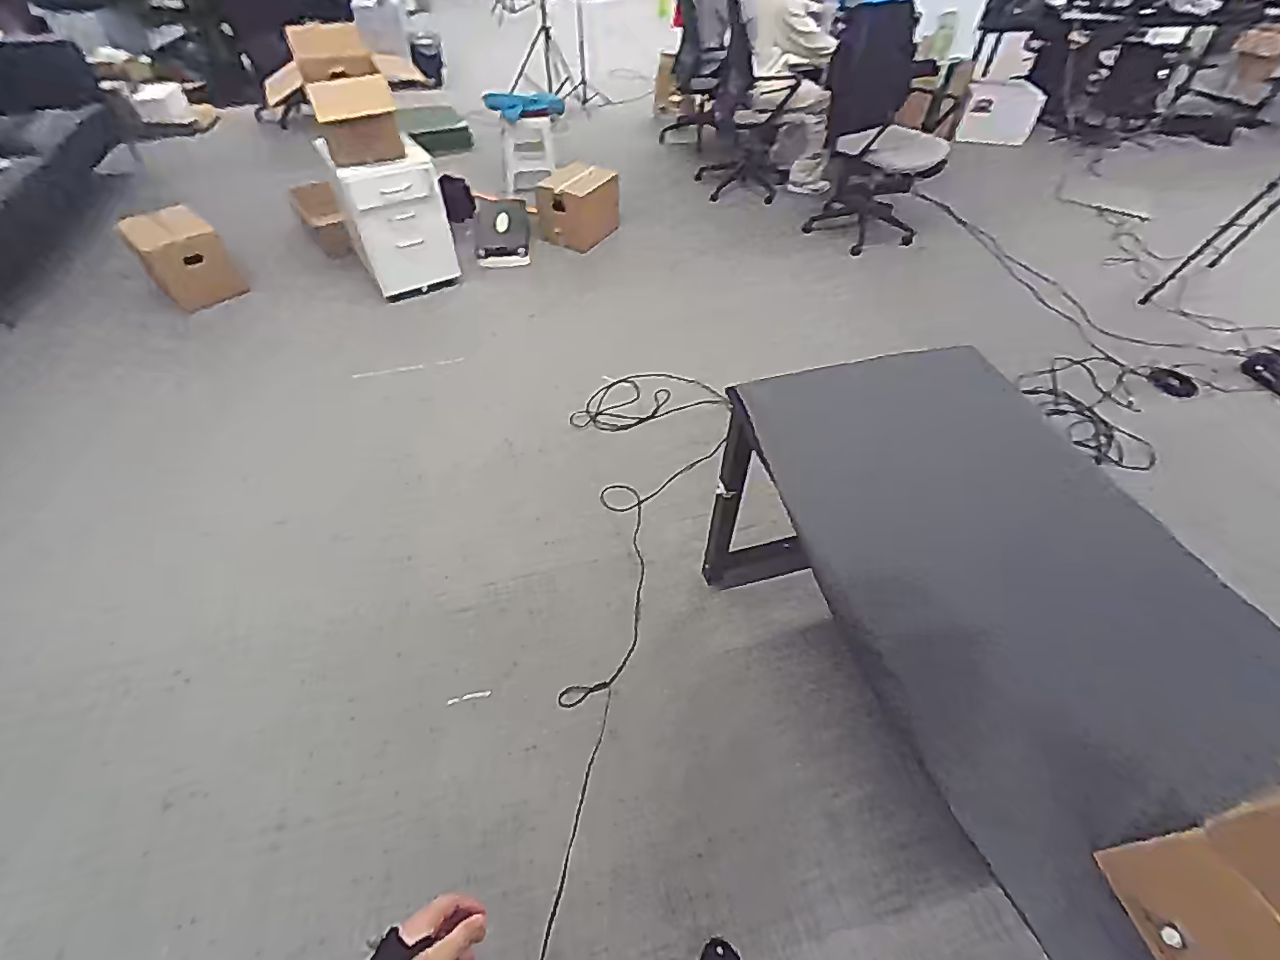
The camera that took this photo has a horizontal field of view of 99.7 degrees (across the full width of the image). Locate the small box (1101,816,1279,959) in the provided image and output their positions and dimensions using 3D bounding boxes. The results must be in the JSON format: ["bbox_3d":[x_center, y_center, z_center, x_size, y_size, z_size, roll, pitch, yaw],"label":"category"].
[{"bbox_3d":[0.625,0.422,0.527,0.179,0.176,0.168,-6,48,-8],"label":"small box"}]

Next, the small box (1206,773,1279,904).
[{"bbox_3d":[0.630,0.305,0.414,0.168,0.176,0.179,-10,48,-15],"label":"small box"}]
